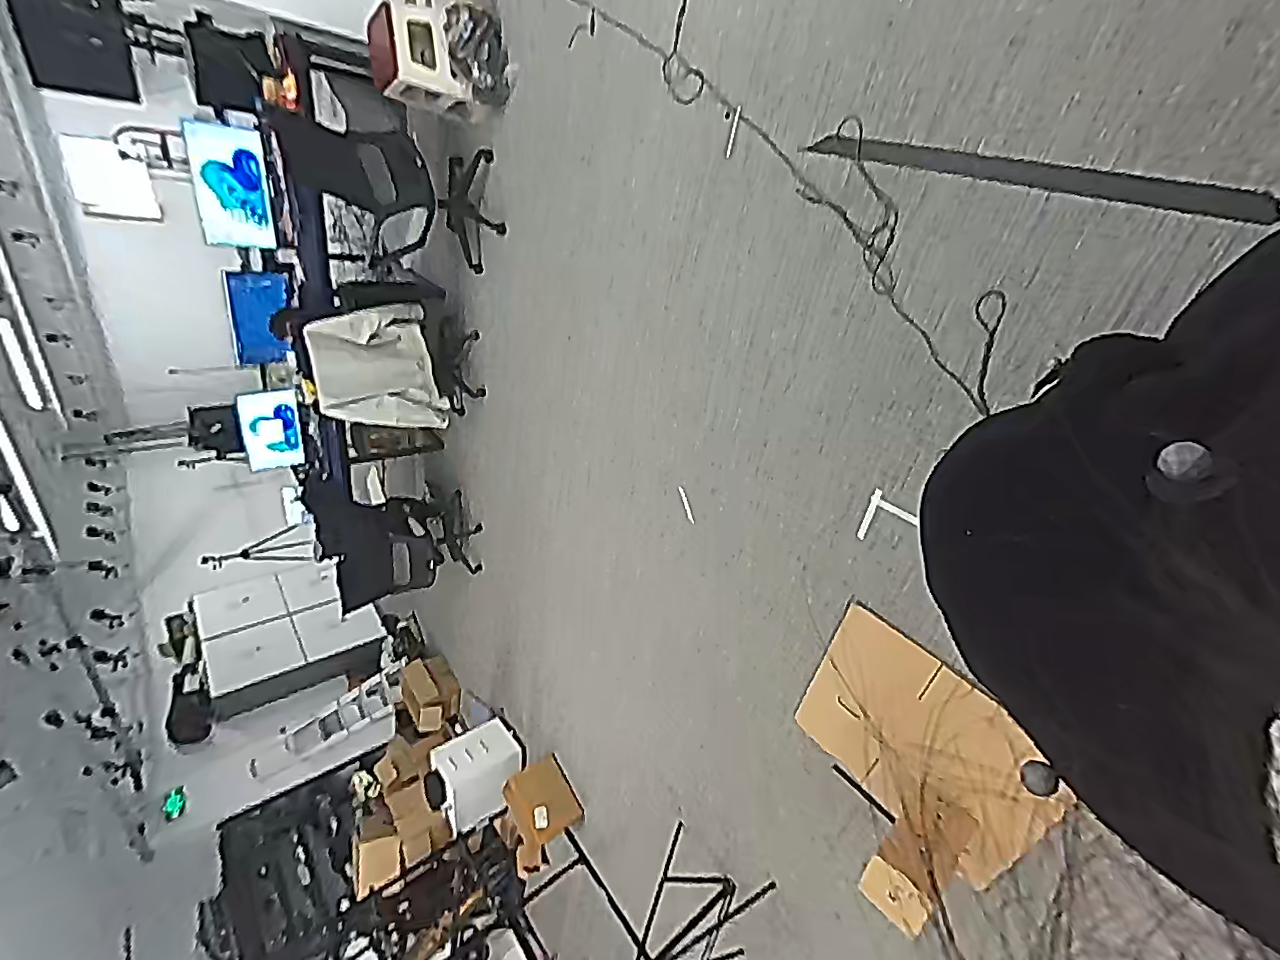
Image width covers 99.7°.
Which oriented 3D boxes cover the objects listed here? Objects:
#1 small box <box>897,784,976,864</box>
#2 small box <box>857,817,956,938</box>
[{"bbox_3d":[0.858,1.048,1.593,0.168,0.176,0.179,30,124,41],"label":"small box"},{"bbox_3d":[0.736,1.086,1.489,0.168,0.176,0.179,31,125,39],"label":"small box"}]
